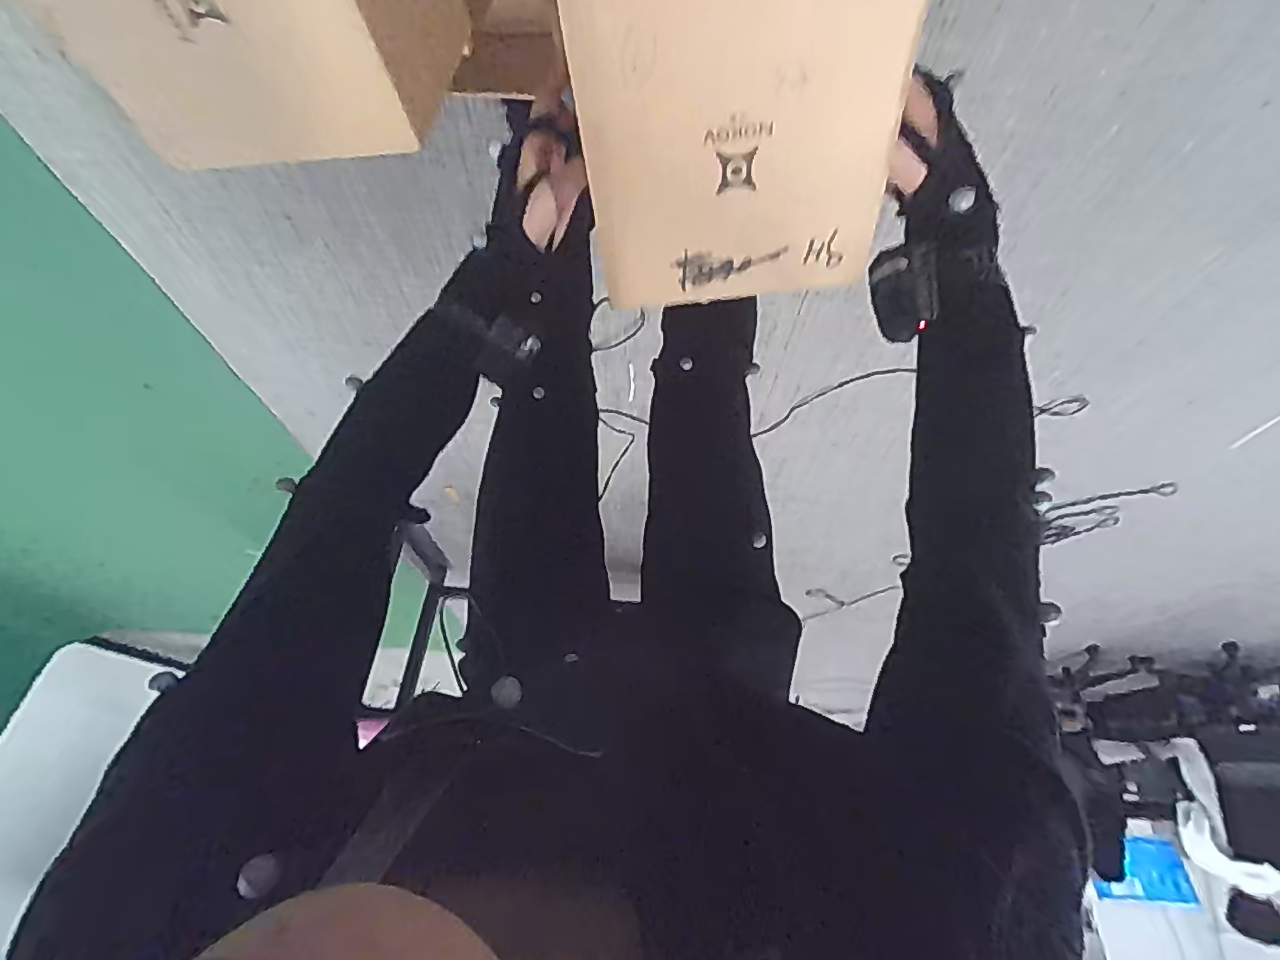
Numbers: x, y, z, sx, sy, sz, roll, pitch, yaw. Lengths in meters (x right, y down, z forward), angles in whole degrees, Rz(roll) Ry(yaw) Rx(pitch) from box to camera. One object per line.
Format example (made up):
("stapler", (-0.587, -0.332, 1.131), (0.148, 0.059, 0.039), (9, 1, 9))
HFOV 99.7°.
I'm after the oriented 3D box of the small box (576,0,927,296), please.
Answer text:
("small box", (0.053, -0.246, 0.343), (0.168, 0.176, 0.179), (-4, 141, 3))
